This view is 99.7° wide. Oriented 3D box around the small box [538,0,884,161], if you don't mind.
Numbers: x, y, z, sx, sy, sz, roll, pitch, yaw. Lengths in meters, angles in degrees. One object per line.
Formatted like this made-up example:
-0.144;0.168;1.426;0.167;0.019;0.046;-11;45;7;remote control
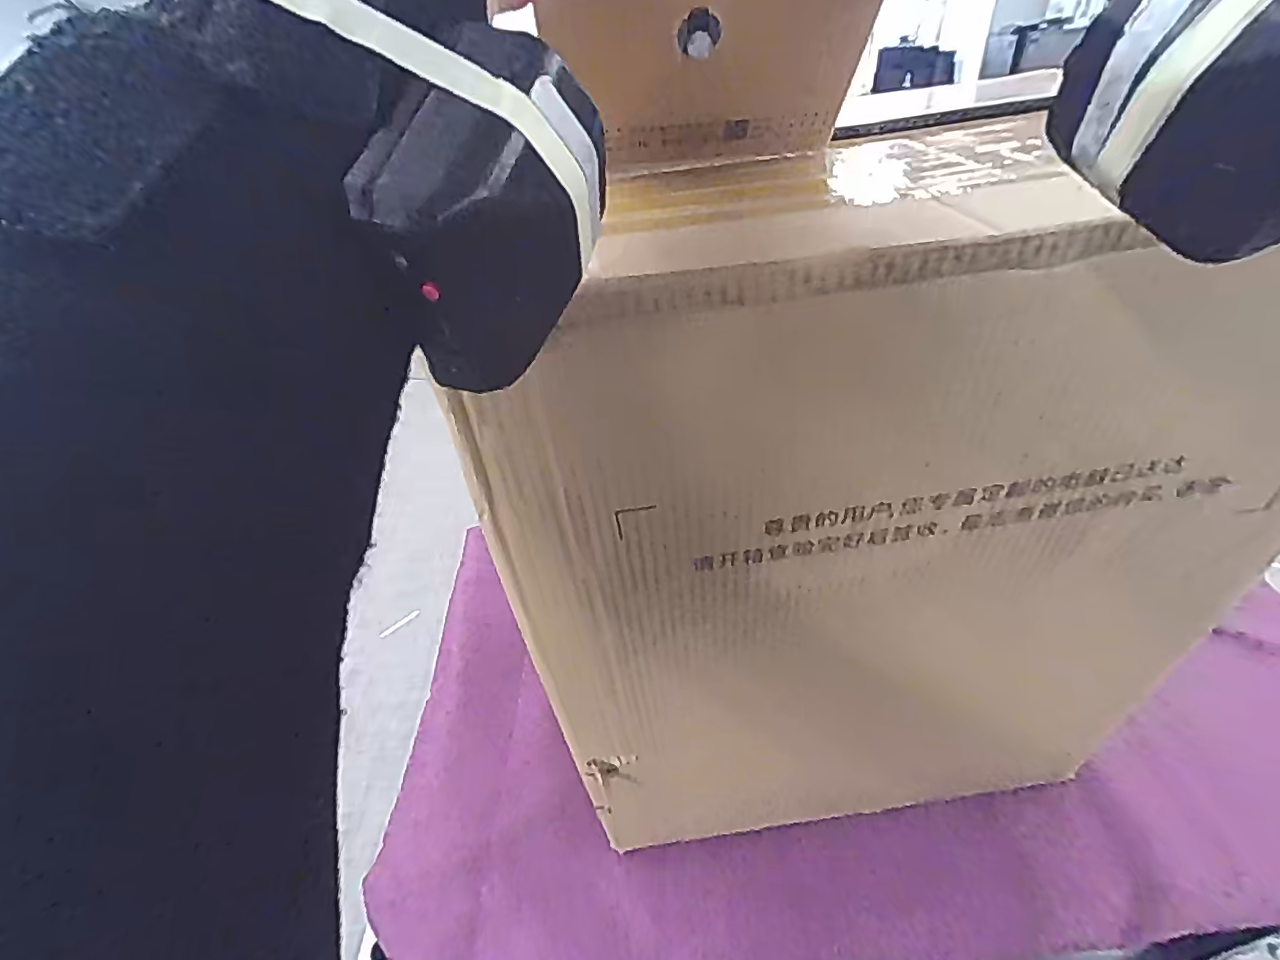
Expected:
0.031;-0.292;0.275;0.168;0.176;0.179;-4;78;-1;small box
